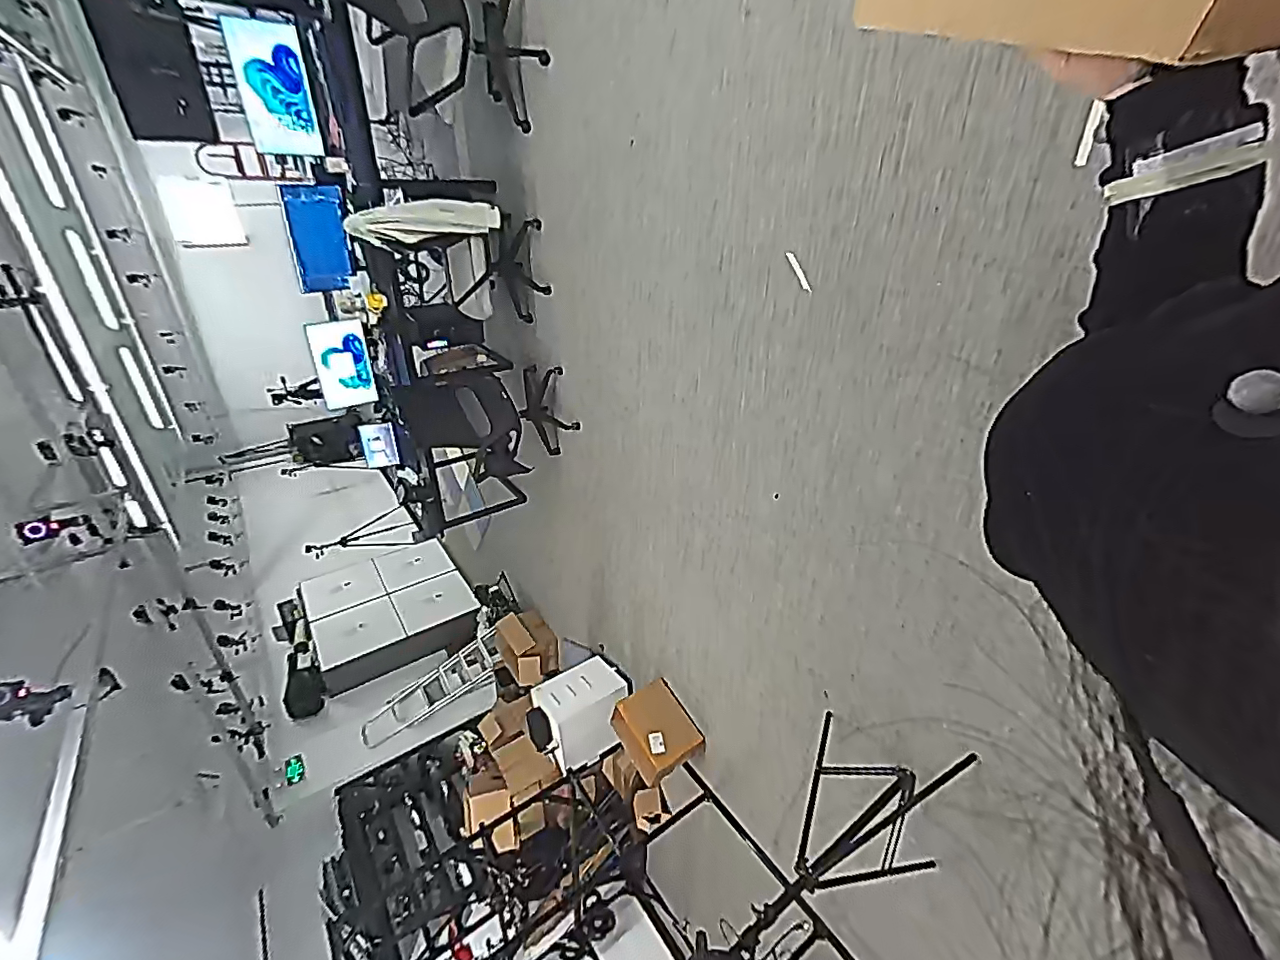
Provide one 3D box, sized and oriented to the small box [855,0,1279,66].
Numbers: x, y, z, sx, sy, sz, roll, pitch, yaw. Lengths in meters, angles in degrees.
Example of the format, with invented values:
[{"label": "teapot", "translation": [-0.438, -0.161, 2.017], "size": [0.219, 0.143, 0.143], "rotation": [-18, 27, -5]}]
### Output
[{"label": "small box", "translation": [0.241, -0.305, 0.243], "size": [0.179, 0.176, 0.168], "rotation": [48, 151, 38]}]
